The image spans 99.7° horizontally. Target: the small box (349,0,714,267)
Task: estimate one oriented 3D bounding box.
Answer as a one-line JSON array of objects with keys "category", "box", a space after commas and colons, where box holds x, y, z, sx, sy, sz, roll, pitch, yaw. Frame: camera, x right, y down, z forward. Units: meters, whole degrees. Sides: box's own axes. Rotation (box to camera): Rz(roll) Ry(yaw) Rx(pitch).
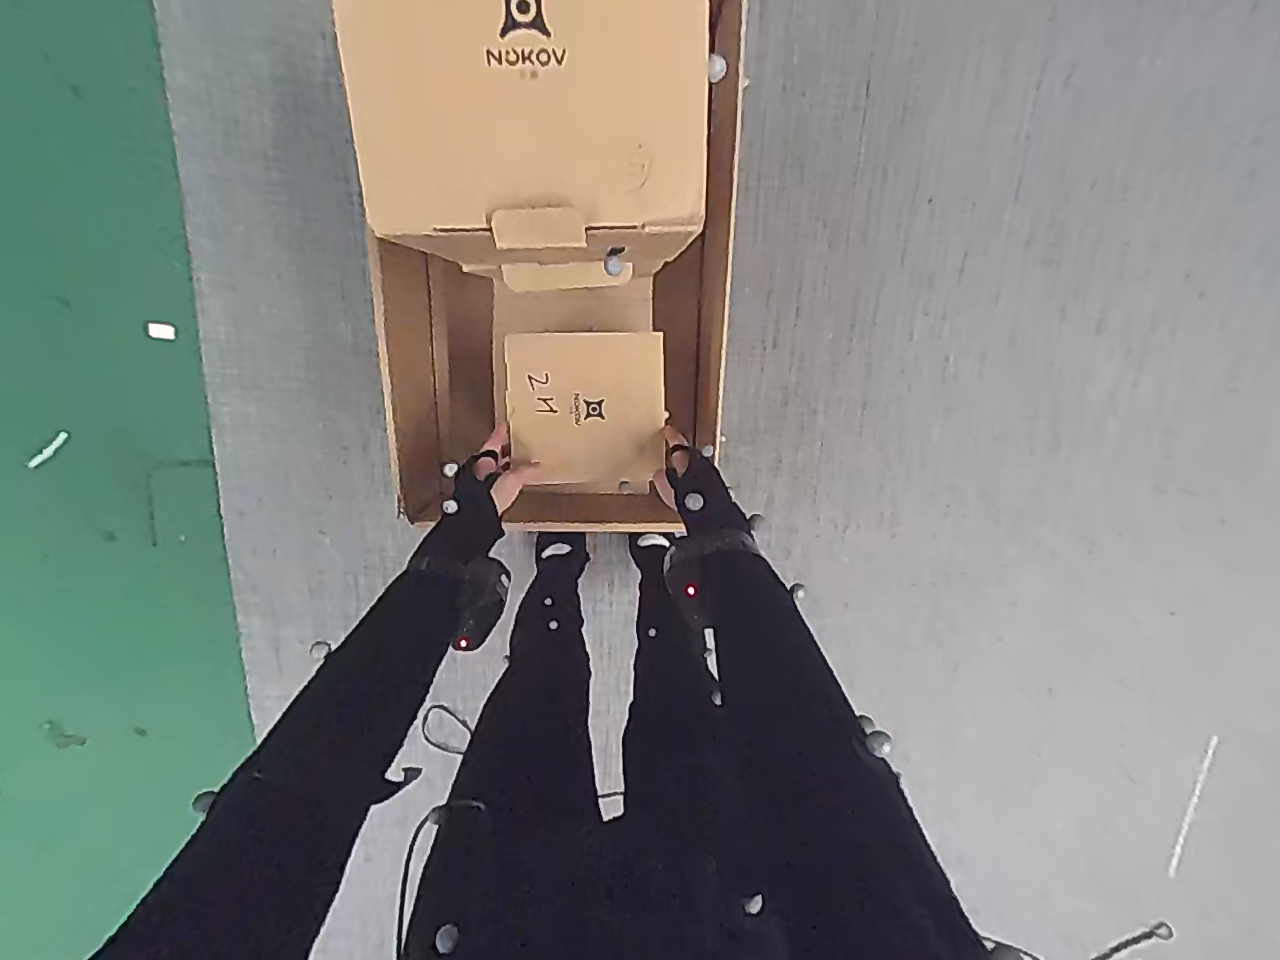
[{"category": "small box", "box": [-0.050, -0.225, 0.322, 0.168, 0.176, 0.179, -1, 107, -3]}]
